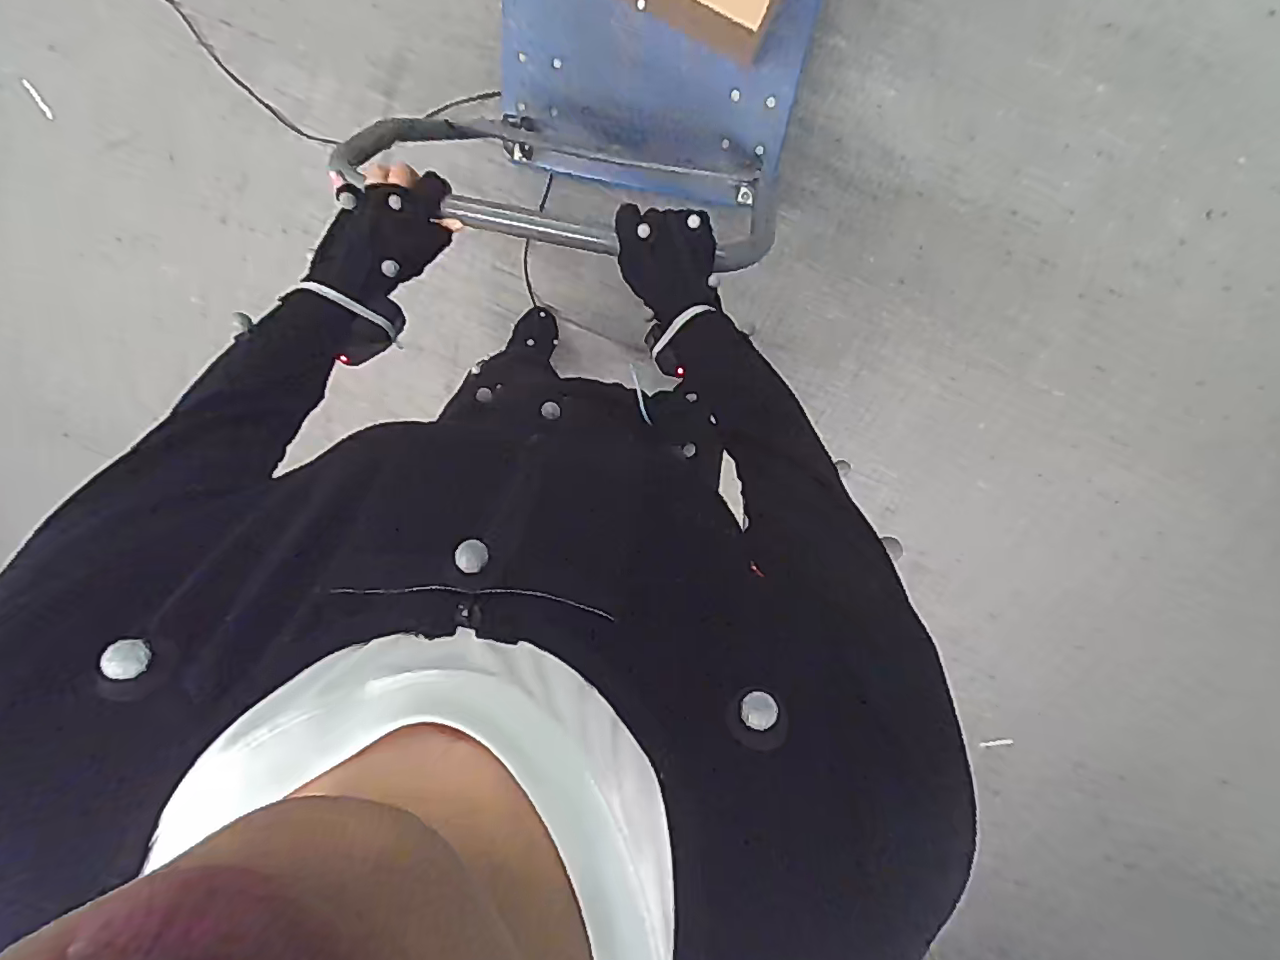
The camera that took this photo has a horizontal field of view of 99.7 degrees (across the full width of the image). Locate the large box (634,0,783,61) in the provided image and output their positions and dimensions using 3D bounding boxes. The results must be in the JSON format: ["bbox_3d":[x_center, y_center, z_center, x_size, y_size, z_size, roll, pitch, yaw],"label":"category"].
[{"bbox_3d":[0.070,-0.897,0.790,0.408,0.320,0.320,26,121,-5],"label":"large box"}]
